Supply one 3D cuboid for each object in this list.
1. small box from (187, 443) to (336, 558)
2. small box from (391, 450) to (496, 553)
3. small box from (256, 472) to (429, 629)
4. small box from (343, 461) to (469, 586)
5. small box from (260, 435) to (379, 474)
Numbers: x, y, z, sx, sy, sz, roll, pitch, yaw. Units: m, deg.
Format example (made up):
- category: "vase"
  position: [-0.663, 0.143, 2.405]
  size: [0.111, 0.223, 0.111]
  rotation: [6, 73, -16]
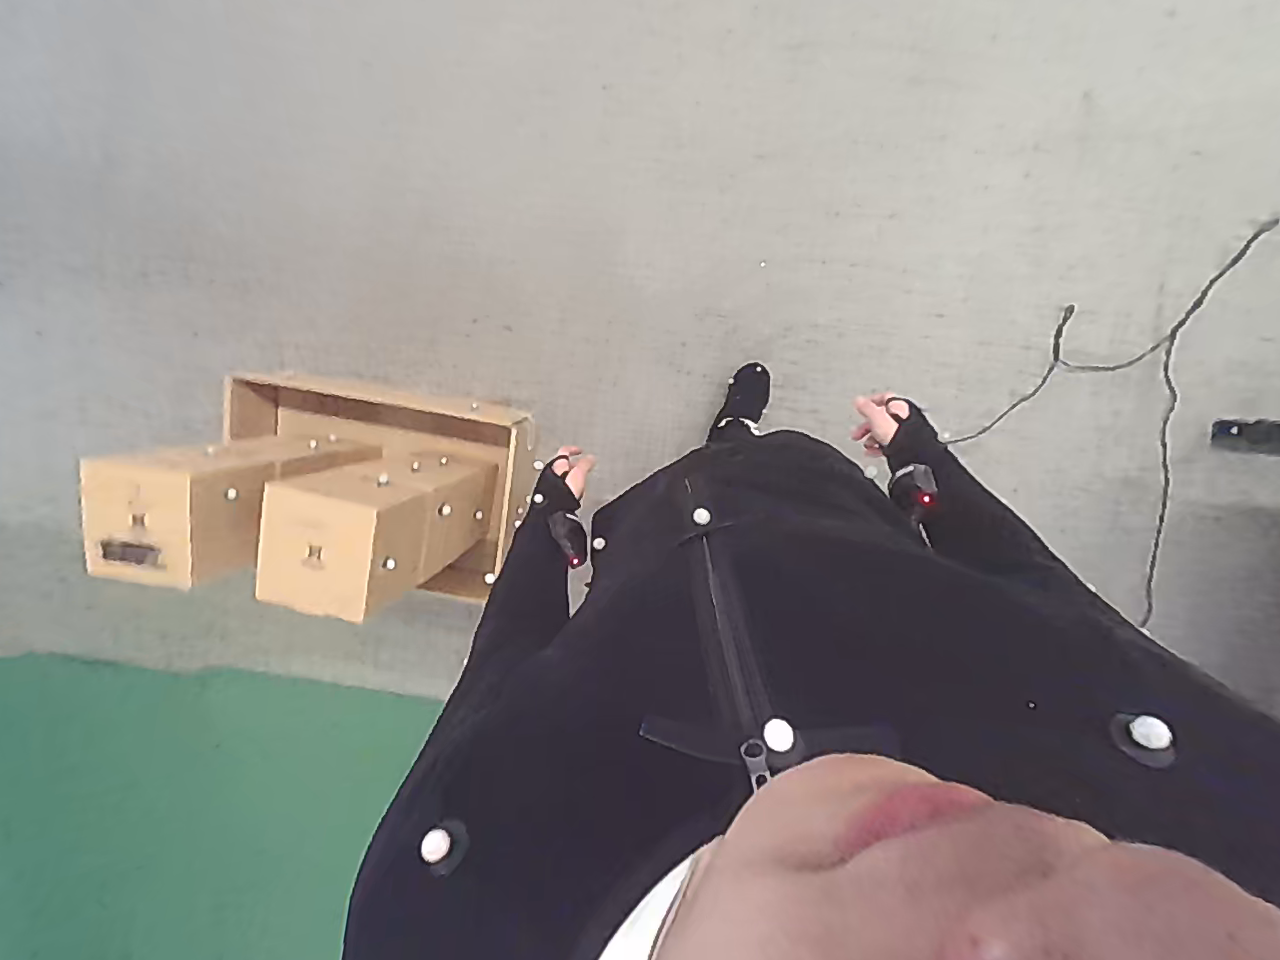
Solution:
- category: "small box"
  position: [-0.697, 0.032, 1.012]
  size: [0.168, 0.176, 0.179]
  rotation: [8, 101, 2]
- category: "small box"
  position: [-0.422, 0.044, 1.157]
  size: [0.168, 0.176, 0.179]
  rotation: [11, 101, 3]
- category: "small box"
  position: [-0.447, 0.098, 0.834]
  size: [0.168, 0.176, 0.179]
  rotation: [13, 100, 2]
- category: "small box"
  position: [-0.431, 0.069, 0.994]
  size: [0.168, 0.176, 0.179]
  rotation: [12, 101, 4]
- category: "small box"
  position: [-0.689, 0.002, 1.173]
  size: [0.168, 0.176, 0.179]
  rotation: [9, 101, 2]
